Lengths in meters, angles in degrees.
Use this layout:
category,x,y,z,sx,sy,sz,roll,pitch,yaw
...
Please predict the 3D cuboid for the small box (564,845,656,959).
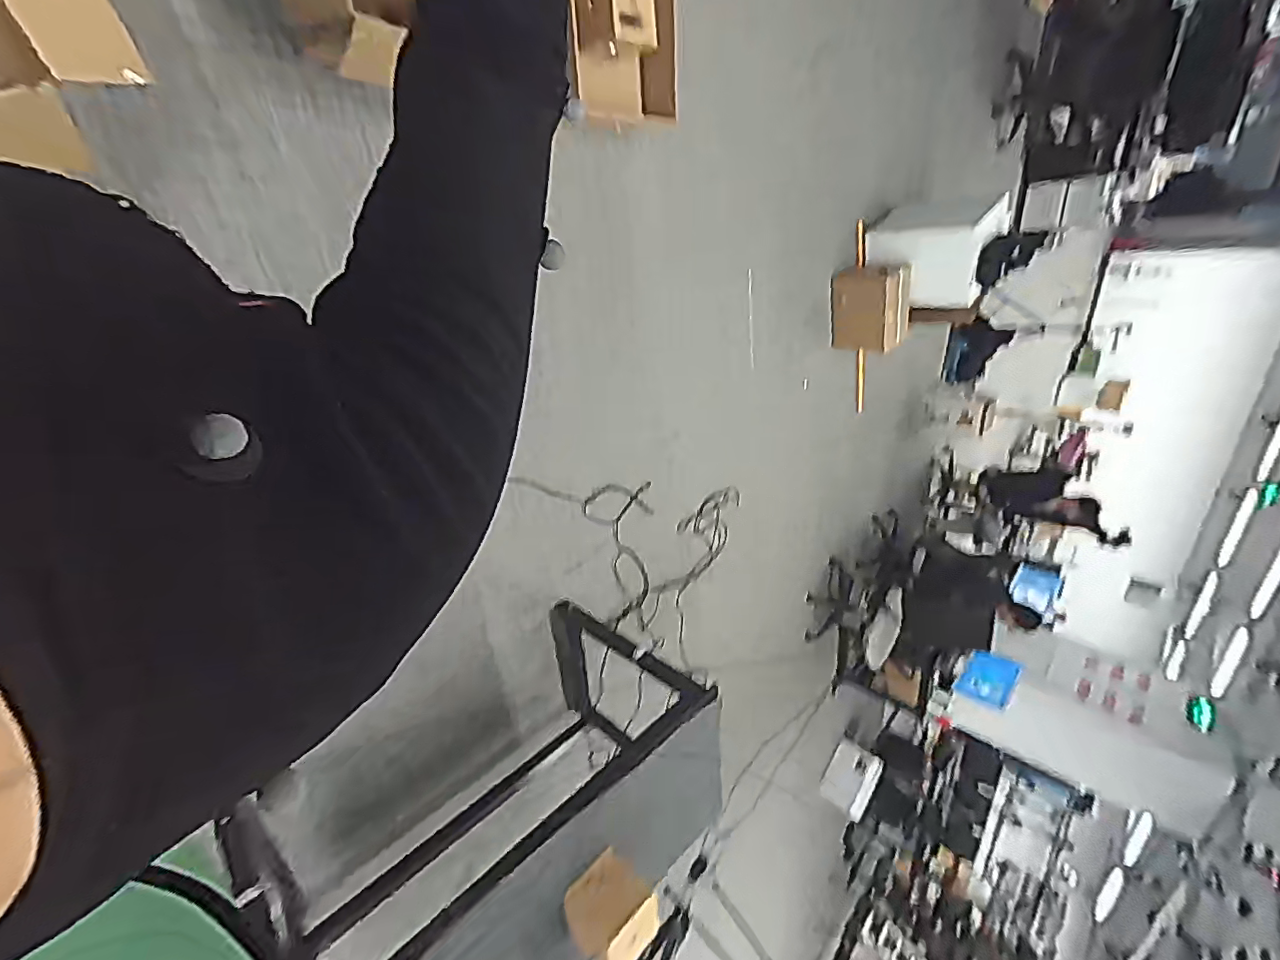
category,x,y,z,sx,sy,sz,roll,pitch,yaw
small box,-0.077,1.098,1.390,0.168,0.176,0.179,-25,122,-39
